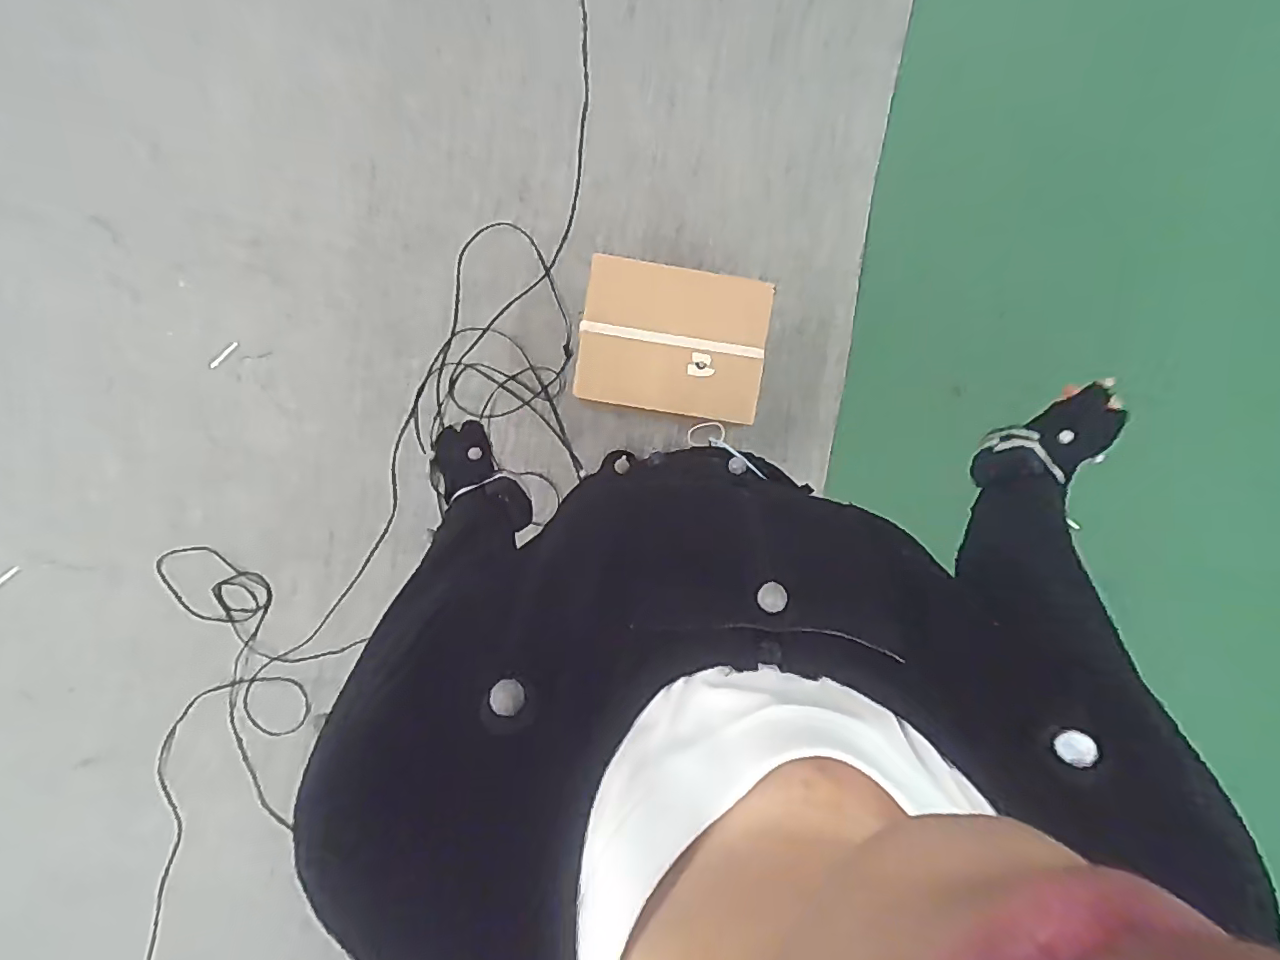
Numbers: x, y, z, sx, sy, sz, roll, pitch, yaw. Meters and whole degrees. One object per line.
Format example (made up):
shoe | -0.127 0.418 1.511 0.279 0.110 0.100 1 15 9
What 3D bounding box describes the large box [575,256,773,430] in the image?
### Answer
large box | 0.066 -0.310 1.321 0.408 0.320 0.320 9 93 -3
